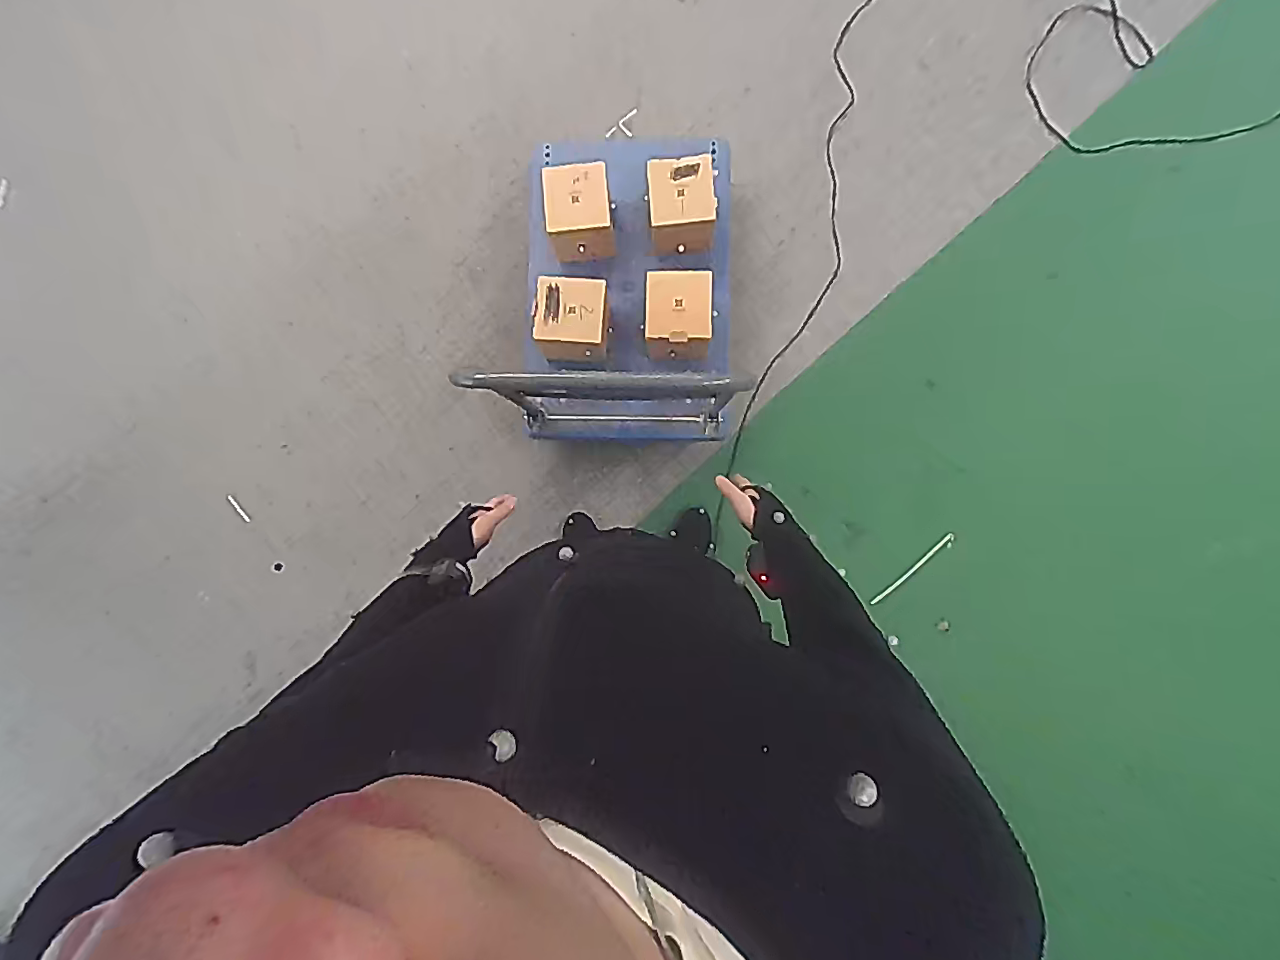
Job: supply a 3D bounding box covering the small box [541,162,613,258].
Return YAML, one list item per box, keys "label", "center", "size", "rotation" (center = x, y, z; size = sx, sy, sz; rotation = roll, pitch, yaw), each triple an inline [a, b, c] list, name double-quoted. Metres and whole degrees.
- label: "small box"
  center: [-0.164, -0.712, 1.449]
  size: [0.168, 0.176, 0.179]
  rotation: [-5, 86, 1]

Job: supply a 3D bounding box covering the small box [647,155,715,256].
- label: "small box"
  center: [0.105, -0.724, 1.439]
  size: [0.168, 0.176, 0.179]
  rotation: [-4, 87, 3]

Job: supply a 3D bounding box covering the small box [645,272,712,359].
- label: "small box"
  center: [0.097, -0.428, 1.423]
  size: [0.168, 0.176, 0.179]
  rotation: [1, 87, 2]
